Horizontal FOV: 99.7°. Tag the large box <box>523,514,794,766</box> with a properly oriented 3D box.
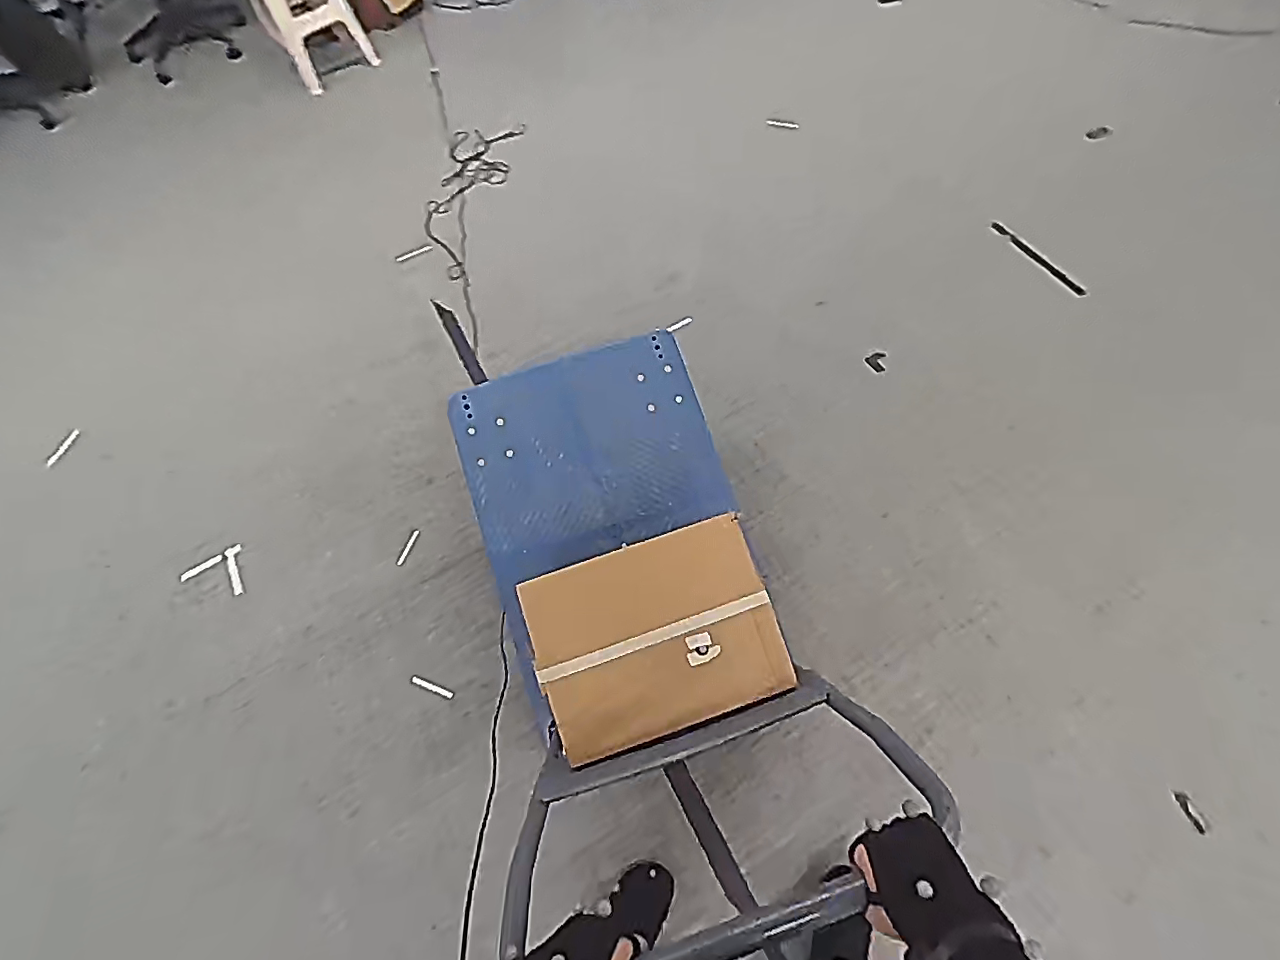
[{"bbox_3d":[0.025,0.296,1.079,0.408,0.320,0.320,-19,81,-6],"label":"large box"}]
